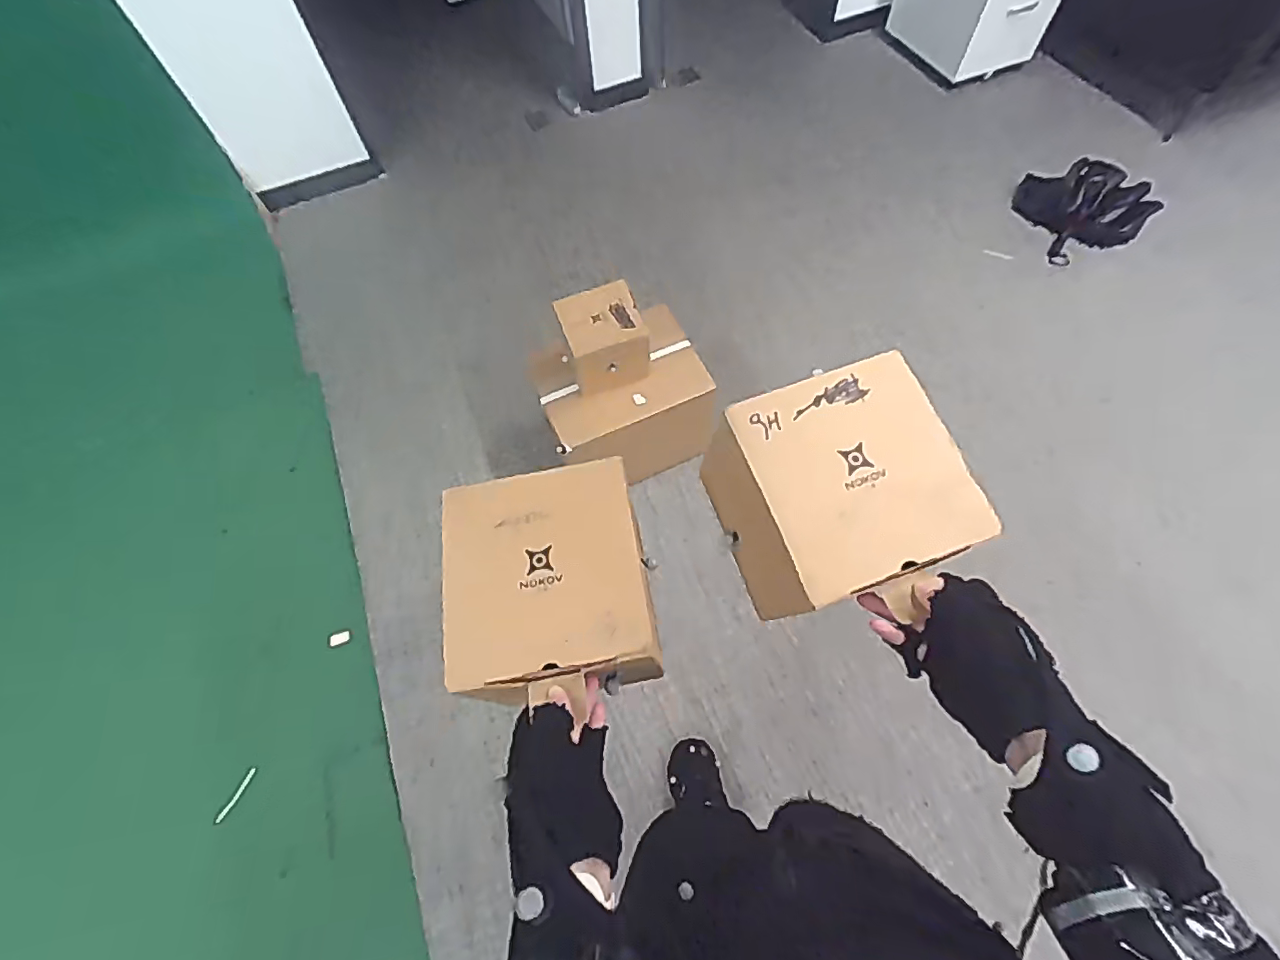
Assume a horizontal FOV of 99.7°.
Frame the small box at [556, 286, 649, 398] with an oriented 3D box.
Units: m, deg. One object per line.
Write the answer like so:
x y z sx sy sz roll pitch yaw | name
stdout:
-0.087 -0.320 1.275 0.179 0.176 0.168 -17 67 -6 | small box
